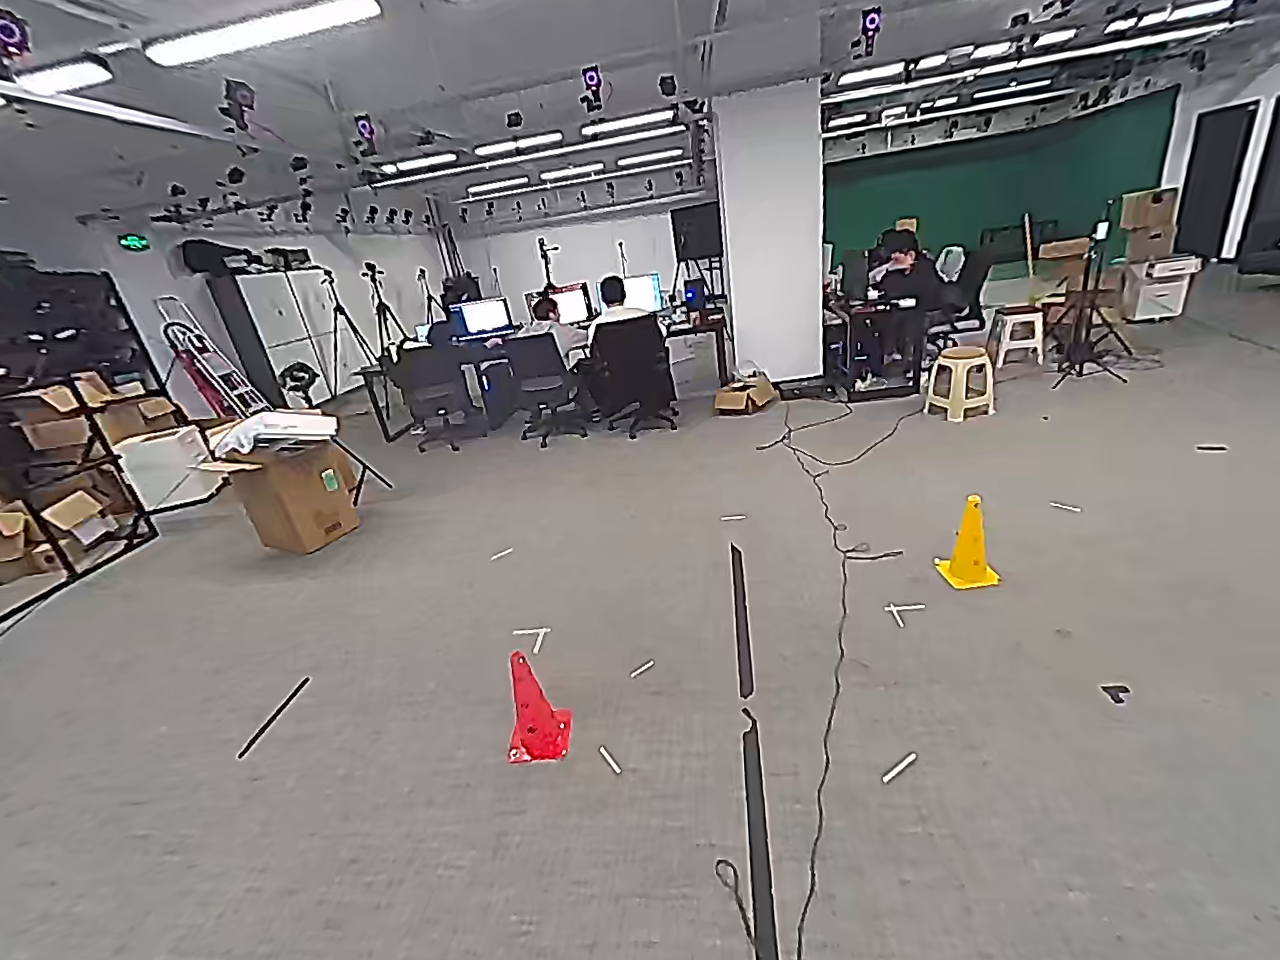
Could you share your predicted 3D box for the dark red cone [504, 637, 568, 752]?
[{"bbox_3d":[-0.368,0.680,1.755,0.201,0.394,0.202,-7,23,2],"label":"dark red cone"}]
